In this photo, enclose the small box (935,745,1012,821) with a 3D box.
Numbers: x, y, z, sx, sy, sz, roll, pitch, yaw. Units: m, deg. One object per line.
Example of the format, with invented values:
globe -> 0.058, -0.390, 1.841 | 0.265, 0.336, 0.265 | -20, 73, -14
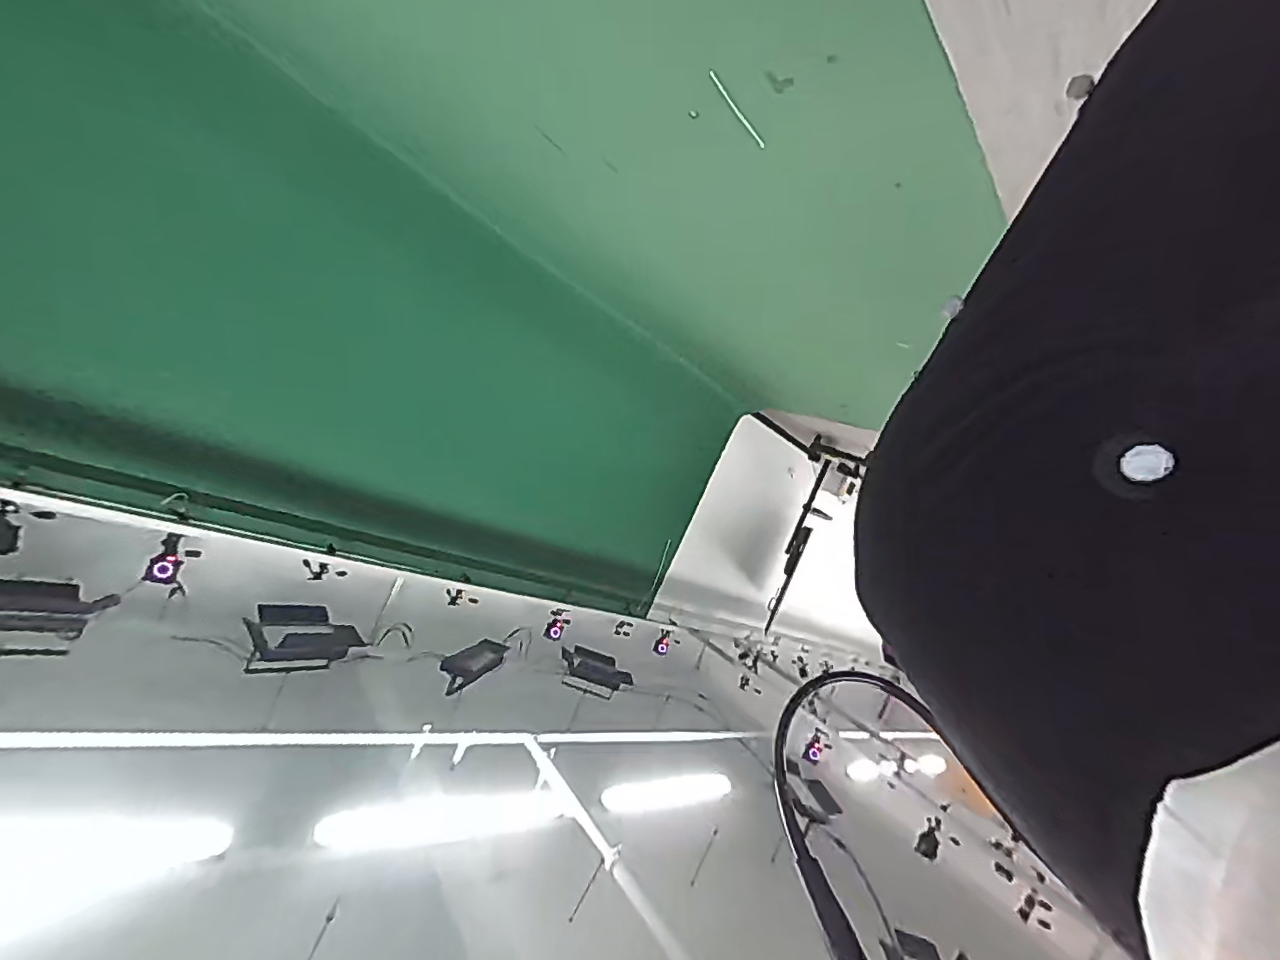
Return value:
small box -> 1.203, 1.077, 1.941 | 0.168, 0.176, 0.179 | 24, -179, -41
